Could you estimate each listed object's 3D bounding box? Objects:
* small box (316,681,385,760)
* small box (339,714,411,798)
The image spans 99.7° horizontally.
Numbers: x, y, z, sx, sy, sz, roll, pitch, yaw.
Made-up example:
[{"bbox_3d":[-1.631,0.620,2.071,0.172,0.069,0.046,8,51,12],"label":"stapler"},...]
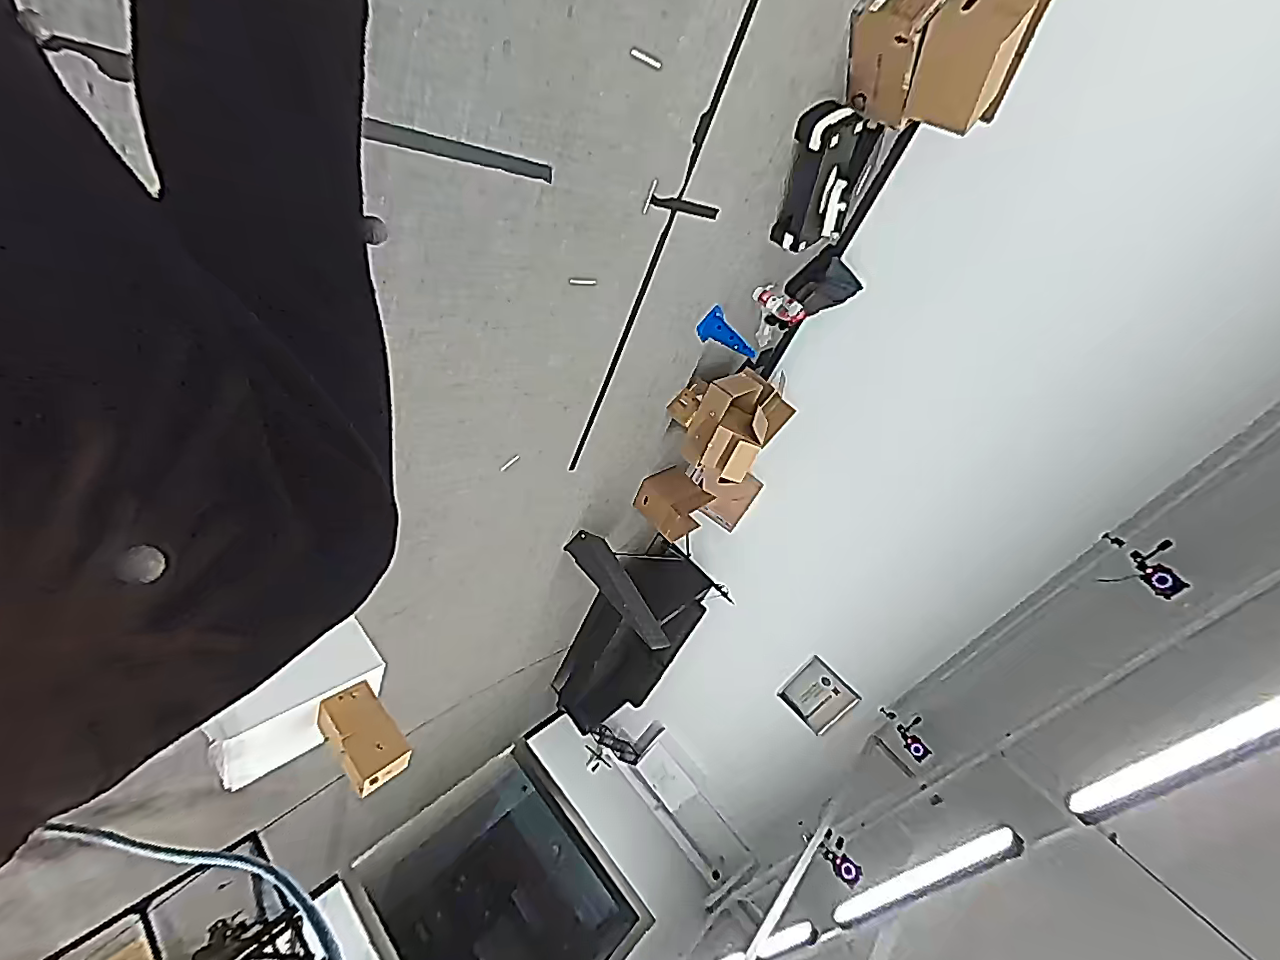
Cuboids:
[{"bbox_3d":[-1.071,0.884,1.997,0.168,0.176,0.179,-20,146,-50],"label":"small box"},{"bbox_3d":[-0.956,0.986,1.942,0.179,0.176,0.168,-25,151,-47],"label":"small box"}]
